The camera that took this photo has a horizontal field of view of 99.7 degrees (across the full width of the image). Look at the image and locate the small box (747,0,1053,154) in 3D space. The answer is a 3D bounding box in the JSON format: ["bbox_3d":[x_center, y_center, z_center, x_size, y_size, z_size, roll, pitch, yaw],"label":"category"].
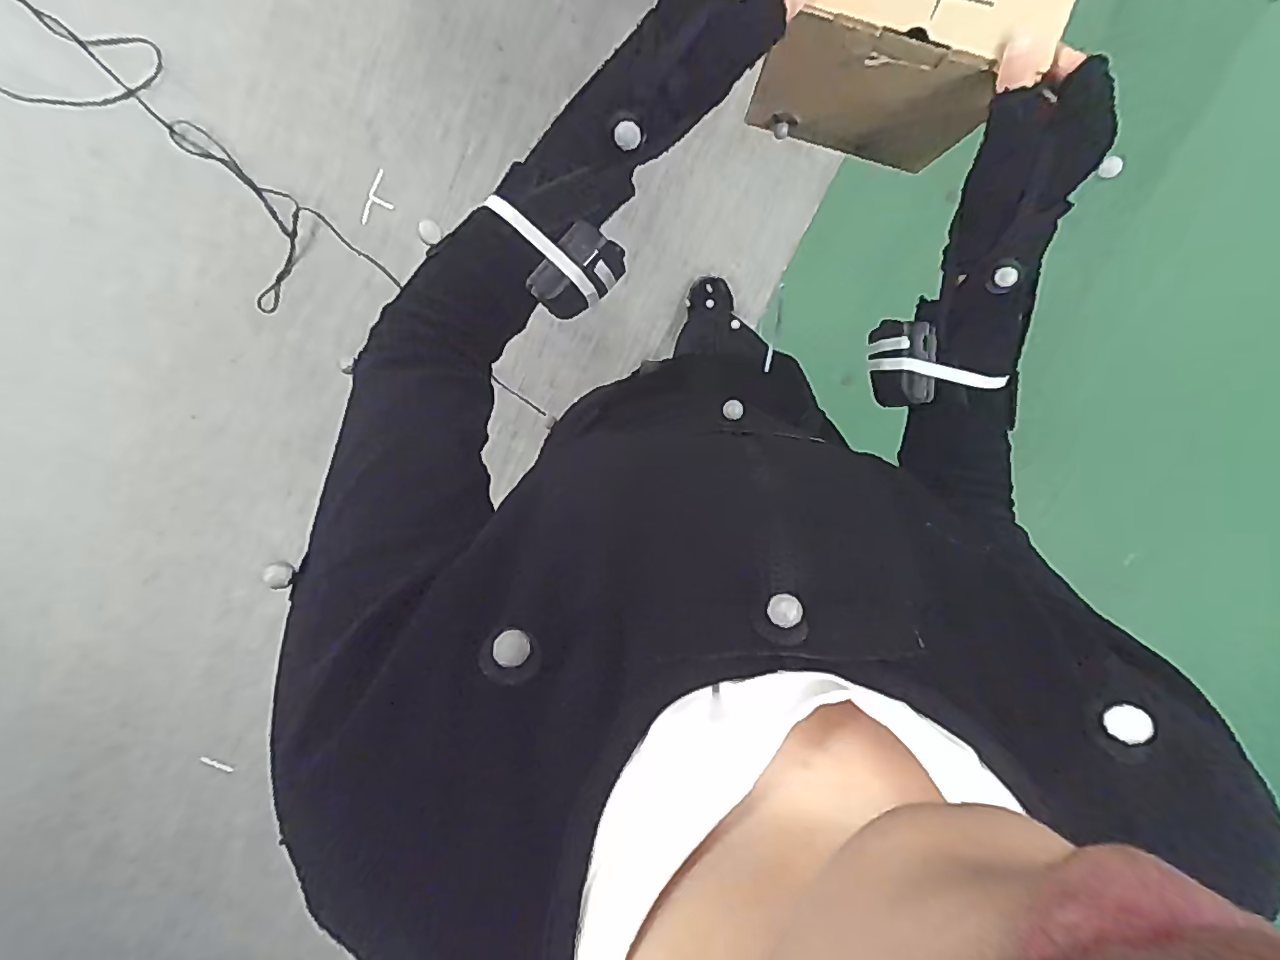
[{"bbox_3d":[0.185,-0.372,0.389,0.168,0.176,0.179,16,101,-2],"label":"small box"}]
